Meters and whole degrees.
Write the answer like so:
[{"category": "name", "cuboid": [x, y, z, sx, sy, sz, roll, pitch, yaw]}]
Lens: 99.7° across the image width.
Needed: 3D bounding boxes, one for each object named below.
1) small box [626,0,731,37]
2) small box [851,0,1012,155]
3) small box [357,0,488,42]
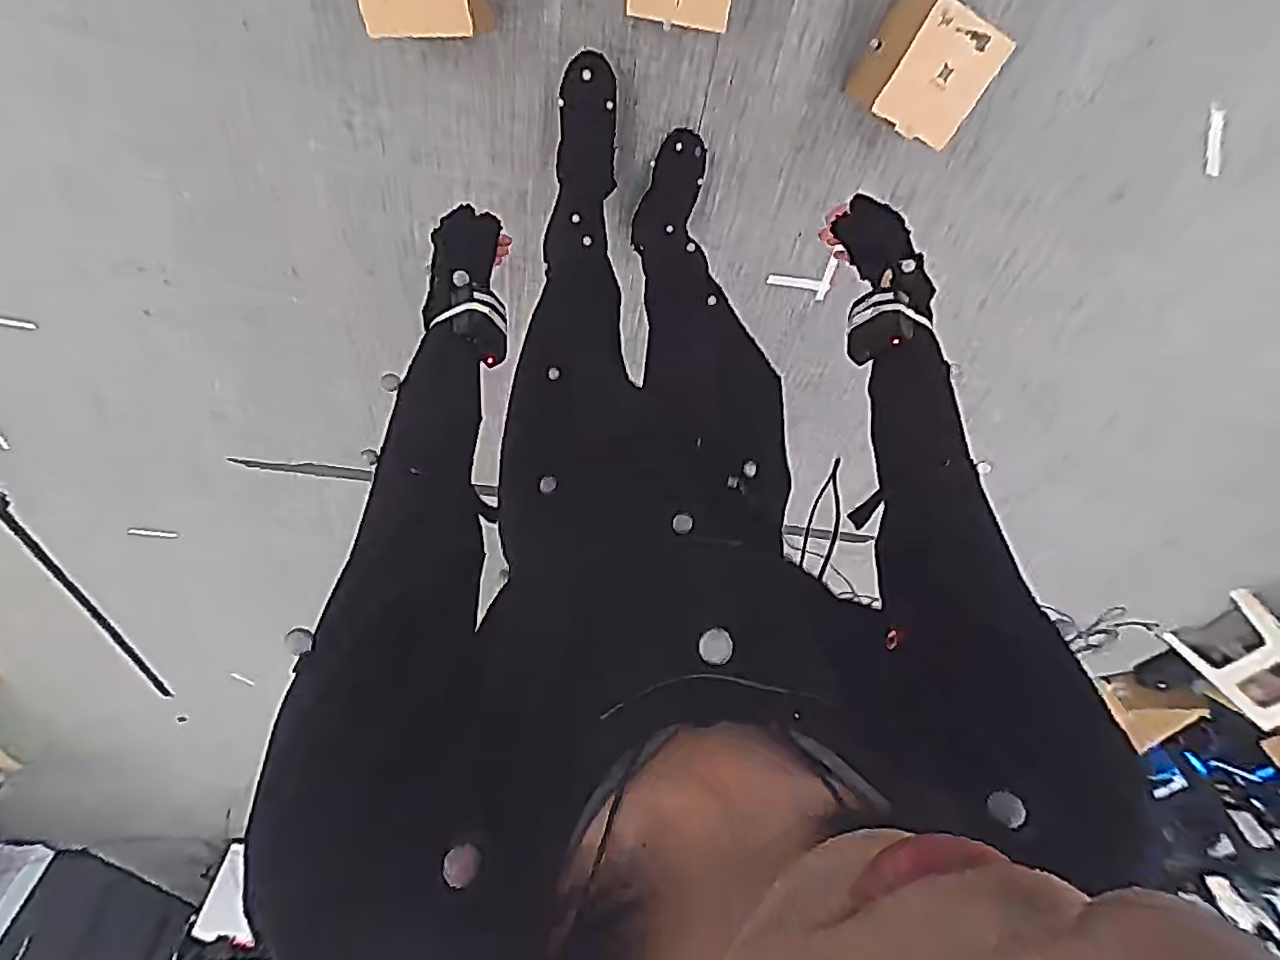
[{"category": "small box", "cuboid": [0.067, -0.845, 0.867, 0.168, 0.176, 0.179, 6, 133, -7]}, {"category": "small box", "cuboid": [0.509, -0.737, 0.981, 0.168, 0.176, 0.179, 18, 130, -17]}, {"category": "small box", "cuboid": [-0.356, -0.825, 0.879, 0.179, 0.176, 0.168, -1, 131, 1]}]
